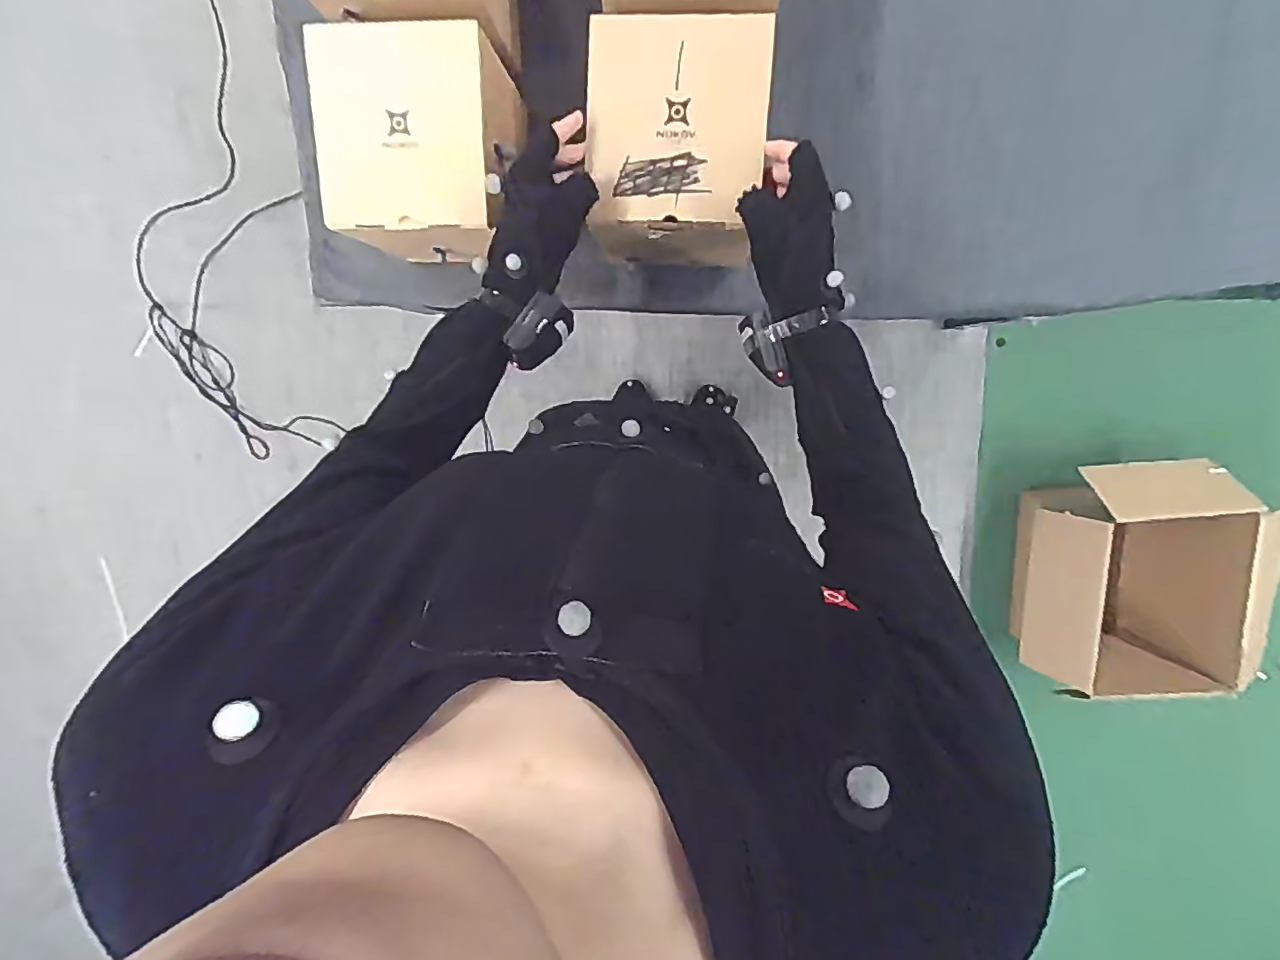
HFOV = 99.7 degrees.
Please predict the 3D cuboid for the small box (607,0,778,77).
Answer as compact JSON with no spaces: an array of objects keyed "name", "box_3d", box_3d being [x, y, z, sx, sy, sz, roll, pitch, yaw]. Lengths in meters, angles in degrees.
[{"name":"small box","box_3d":[0.051,-0.539,0.532,0.168,0.176,0.179,1,102,3]}]
